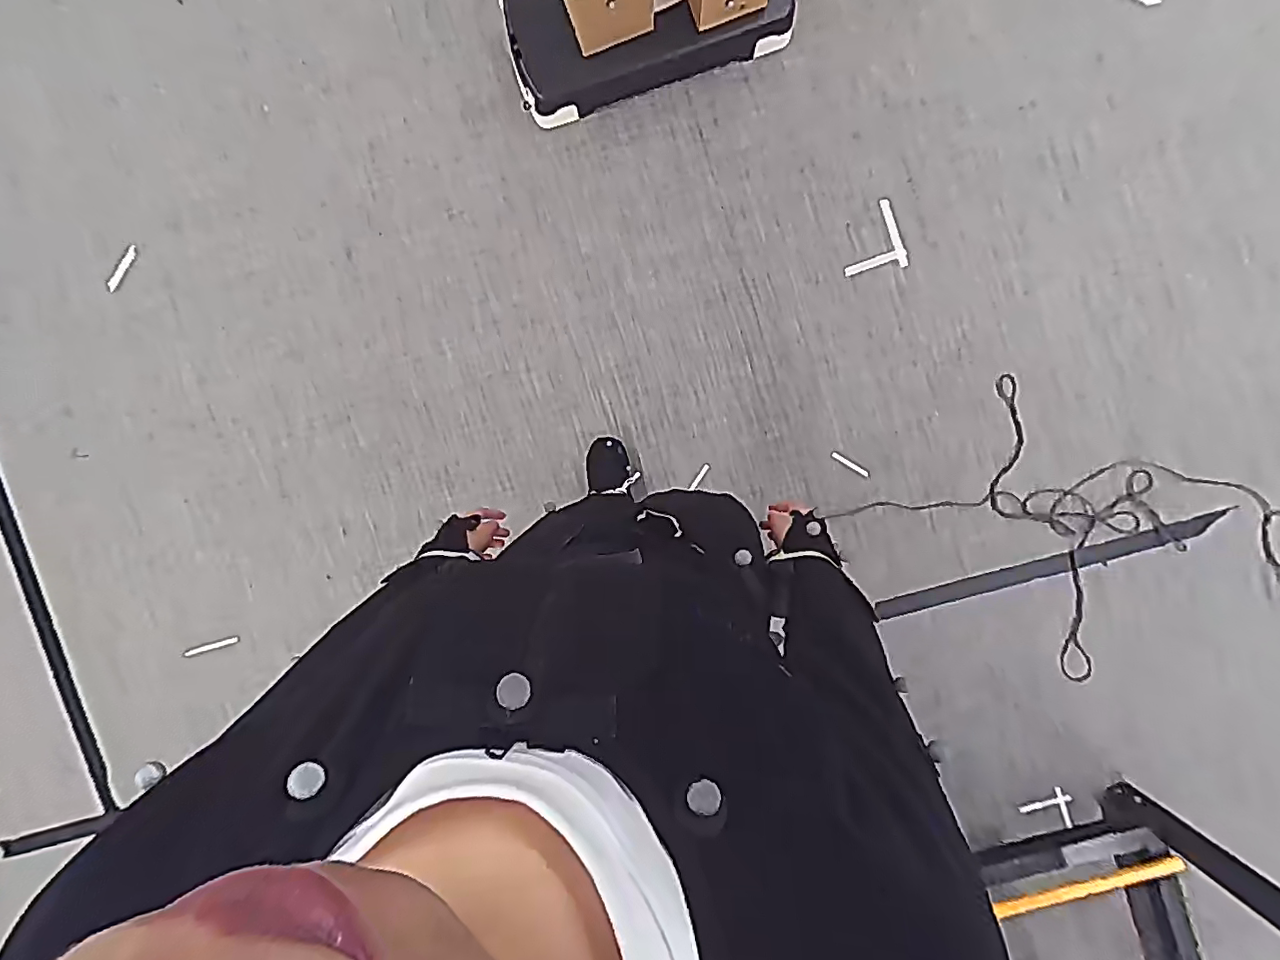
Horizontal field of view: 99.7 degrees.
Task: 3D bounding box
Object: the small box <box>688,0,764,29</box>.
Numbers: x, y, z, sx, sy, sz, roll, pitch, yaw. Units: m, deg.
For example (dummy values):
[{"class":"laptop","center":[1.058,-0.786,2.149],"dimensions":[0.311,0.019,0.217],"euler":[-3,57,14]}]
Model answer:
[{"class":"small box","center":[0.180,-1.133,1.156],"dimensions":[0.168,0.176,0.179],"euler":[-19,93,2]}]
